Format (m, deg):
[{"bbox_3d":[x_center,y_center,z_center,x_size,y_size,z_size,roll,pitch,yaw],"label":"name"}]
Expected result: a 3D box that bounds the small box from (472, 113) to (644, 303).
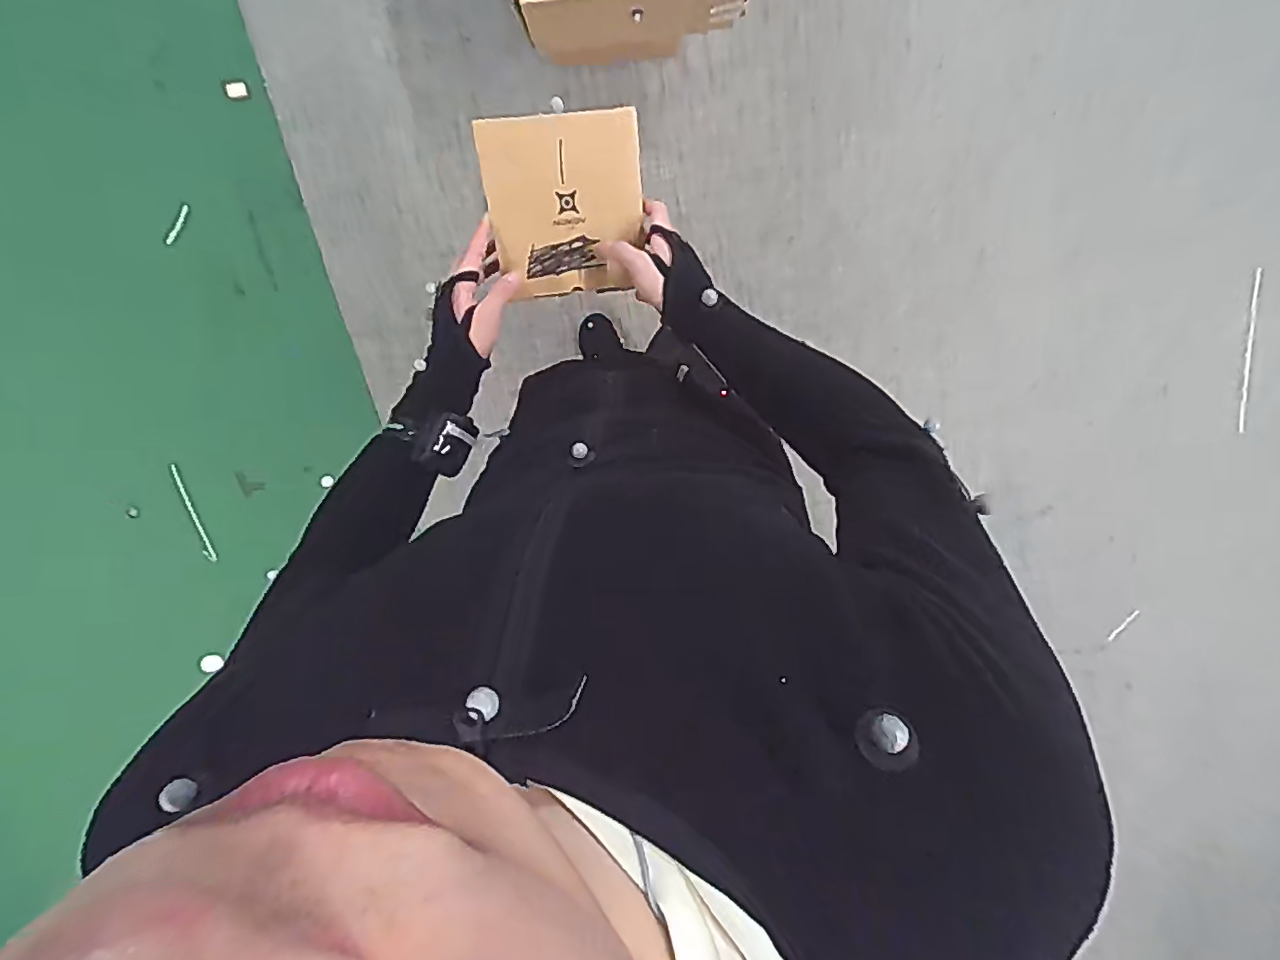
[{"bbox_3d":[-0.090,-0.325,0.640,0.168,0.176,0.179,-8,123,-6],"label":"small box"}]
